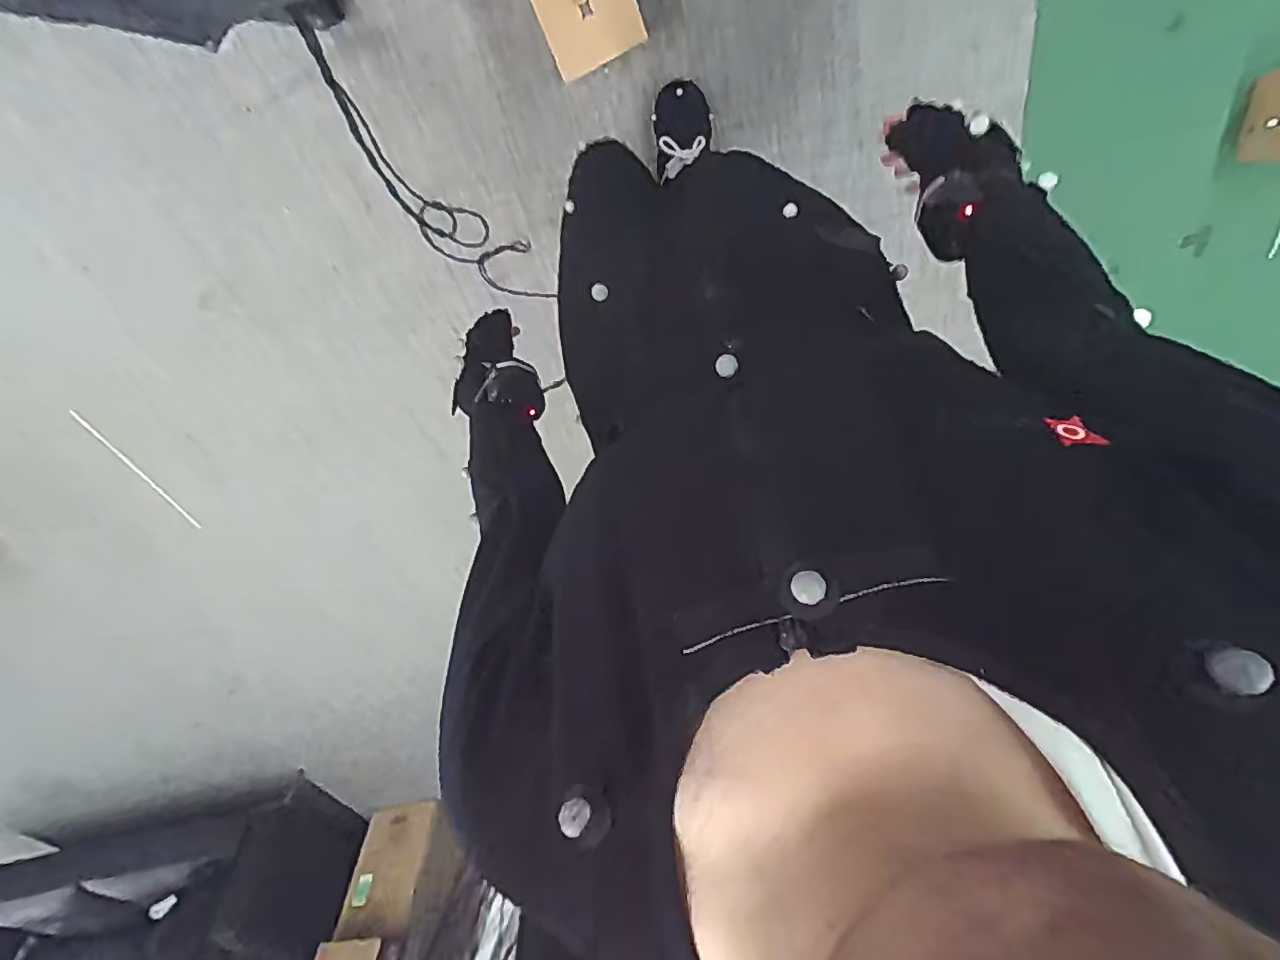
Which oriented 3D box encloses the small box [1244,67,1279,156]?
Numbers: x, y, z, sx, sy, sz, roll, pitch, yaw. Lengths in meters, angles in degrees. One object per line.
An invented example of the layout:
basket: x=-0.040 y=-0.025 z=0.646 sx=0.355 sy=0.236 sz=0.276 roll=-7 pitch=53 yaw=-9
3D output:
small box: x=1.404 y=-0.766 z=1.089 sx=0.179 sy=0.176 sz=0.168 roll=-14 pitch=127 yaw=10
